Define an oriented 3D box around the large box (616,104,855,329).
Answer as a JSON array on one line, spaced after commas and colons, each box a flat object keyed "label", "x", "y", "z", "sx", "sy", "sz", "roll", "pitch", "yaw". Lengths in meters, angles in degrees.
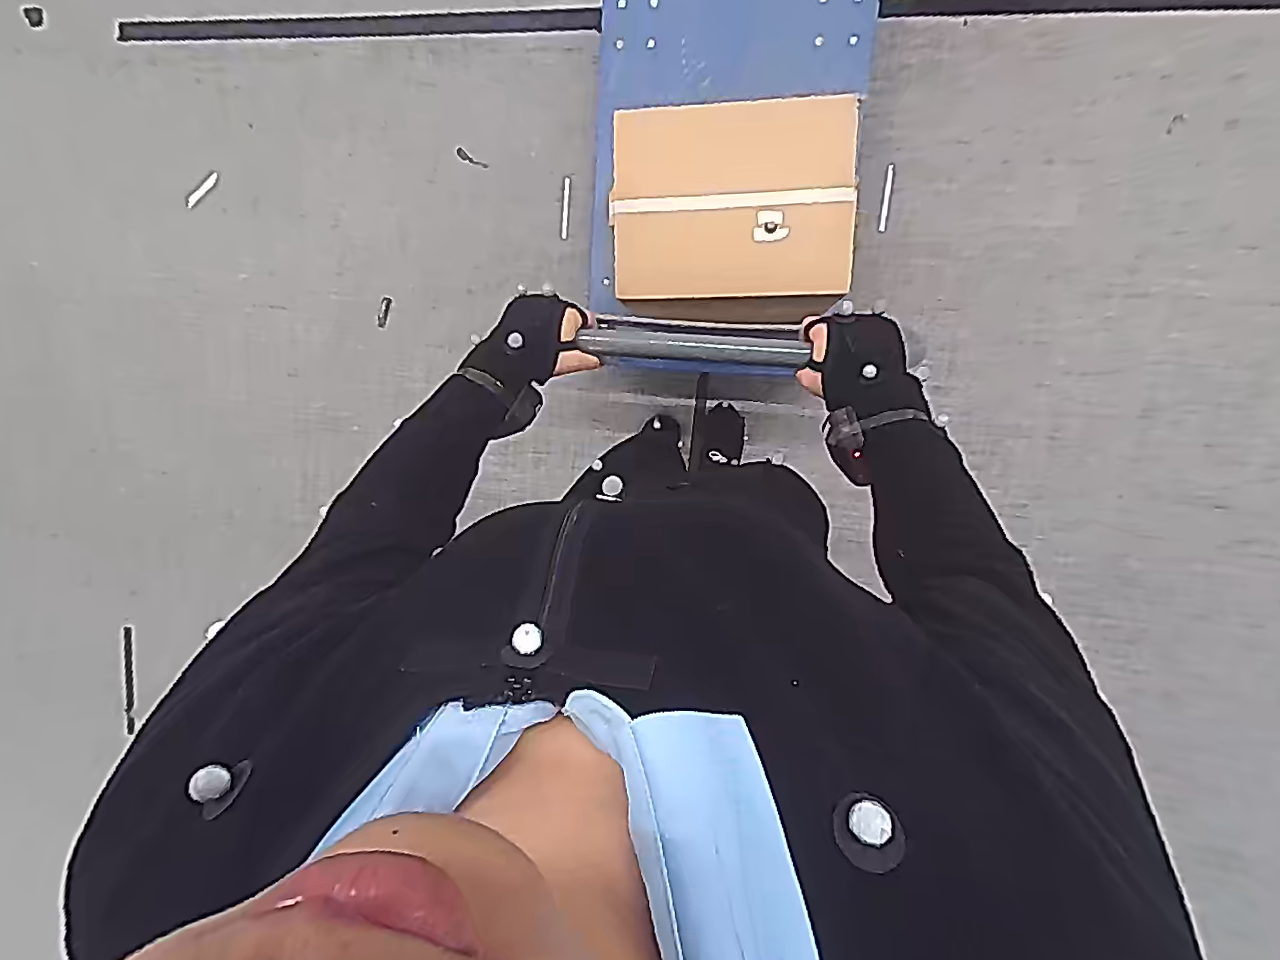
[{"label": "large box", "x": 0.173, "y": -0.484, "z": 1.074, "sx": 0.408, "sy": 0.320, "sz": 0.320, "roll": 1, "pitch": 99, "yaw": 6}]
